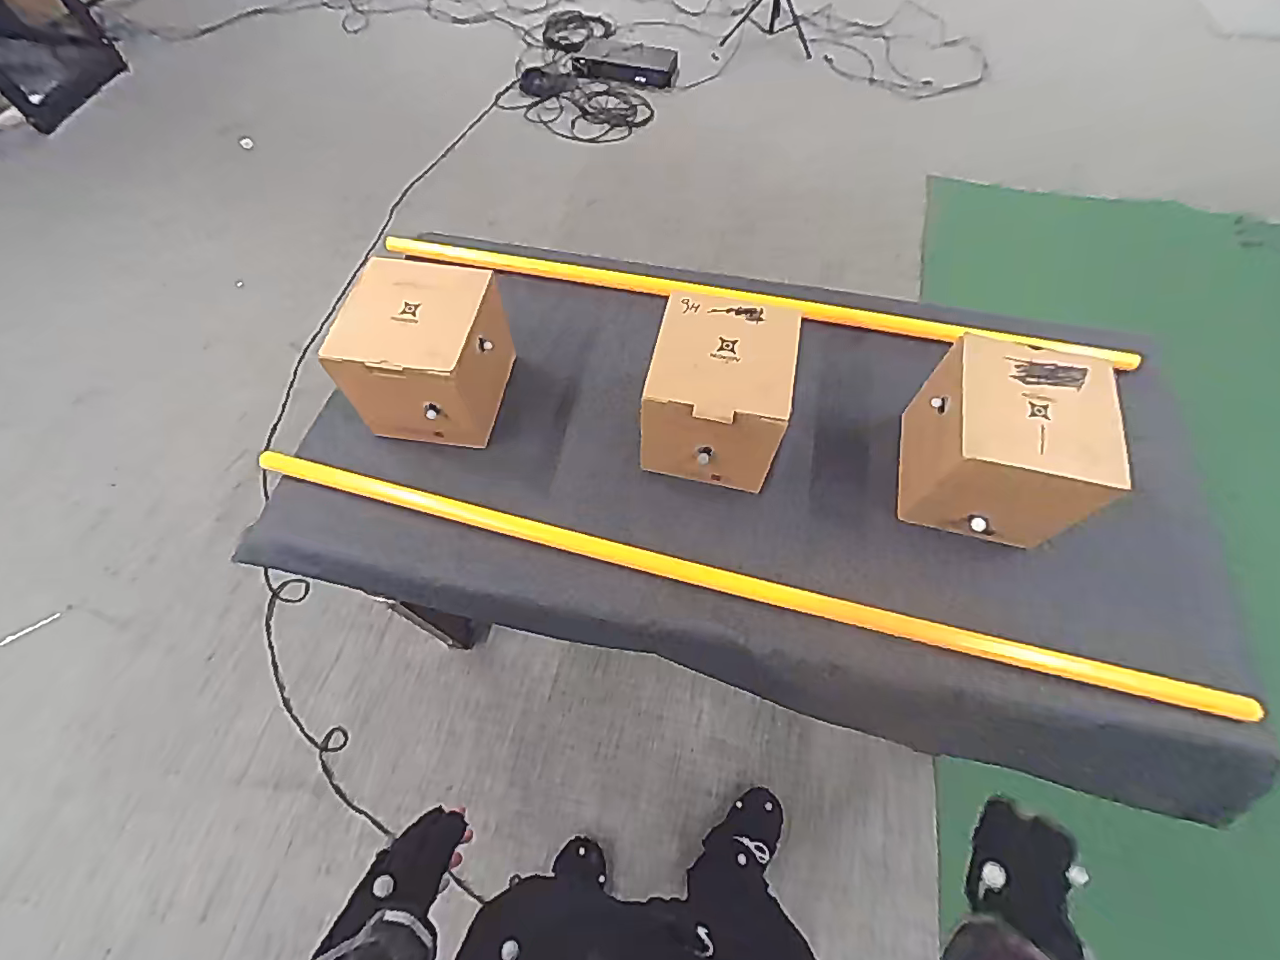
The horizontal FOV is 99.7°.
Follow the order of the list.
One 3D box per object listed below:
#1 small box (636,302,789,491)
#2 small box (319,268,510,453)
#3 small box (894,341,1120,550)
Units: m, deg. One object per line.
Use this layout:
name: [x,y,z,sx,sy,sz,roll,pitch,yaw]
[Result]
small box: [0.094,-0.103,0.710,0.168,0.176,0.179,8,61,6]
small box: [-0.287,-0.156,0.739,0.168,0.176,0.179,7,60,2]
small box: [0.431,-0.037,0.667,0.168,0.176,0.179,13,62,8]
